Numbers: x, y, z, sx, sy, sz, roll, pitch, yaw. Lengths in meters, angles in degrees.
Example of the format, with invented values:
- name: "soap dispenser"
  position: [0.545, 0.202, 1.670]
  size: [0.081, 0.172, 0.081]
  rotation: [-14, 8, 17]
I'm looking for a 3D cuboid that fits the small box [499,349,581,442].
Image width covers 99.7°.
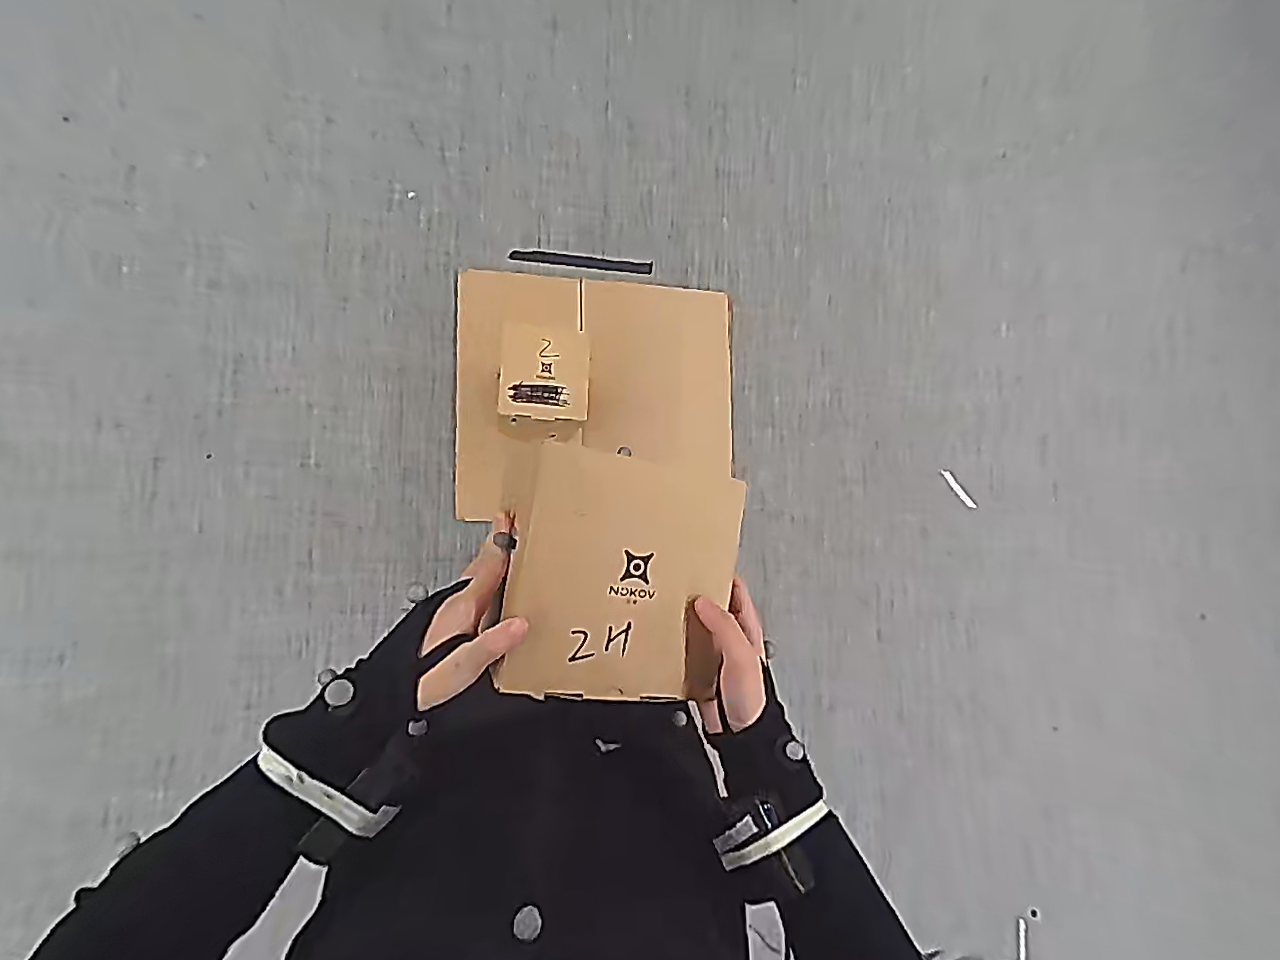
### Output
- name: "small box"
  position: [-0.234, -0.184, 1.247]
  size: [0.168, 0.176, 0.179]
  rotation: [5, 85, -15]

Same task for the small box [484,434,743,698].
- name: "small box"
  position: [-0.034, 0.069, 0.469]
  size: [0.168, 0.176, 0.179]
  rotation: [11, 85, -20]
